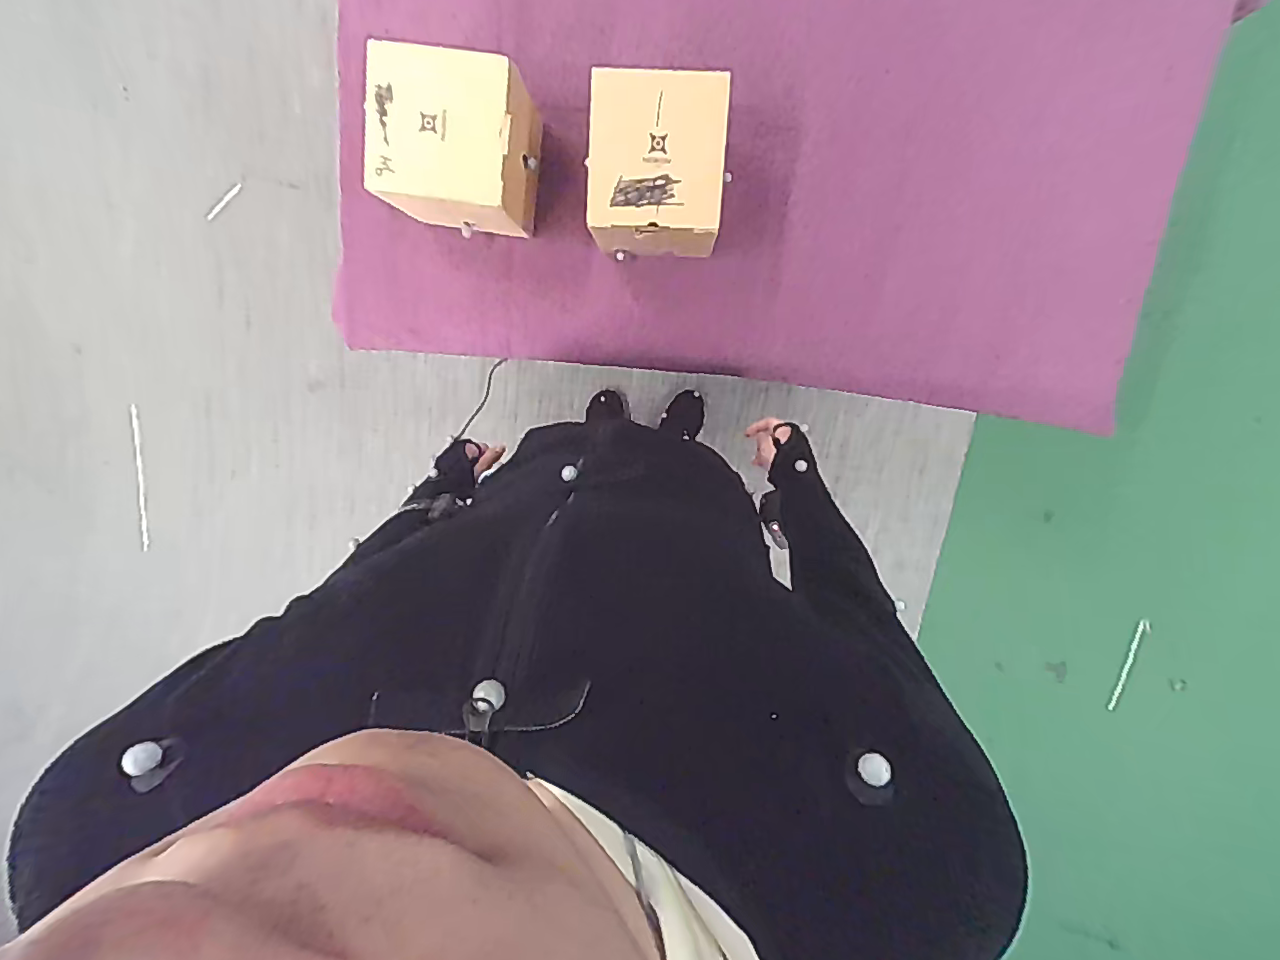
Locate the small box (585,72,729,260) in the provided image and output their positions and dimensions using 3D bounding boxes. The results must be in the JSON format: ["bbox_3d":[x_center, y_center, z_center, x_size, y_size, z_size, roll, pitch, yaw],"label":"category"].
[{"bbox_3d":[0.021,-0.403,0.724,0.168,0.176,0.179,3,101,1],"label":"small box"}]

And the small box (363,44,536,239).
[{"bbox_3d":[-0.244,-0.435,0.727,0.179,0.176,0.168,8,102,-1],"label":"small box"}]
